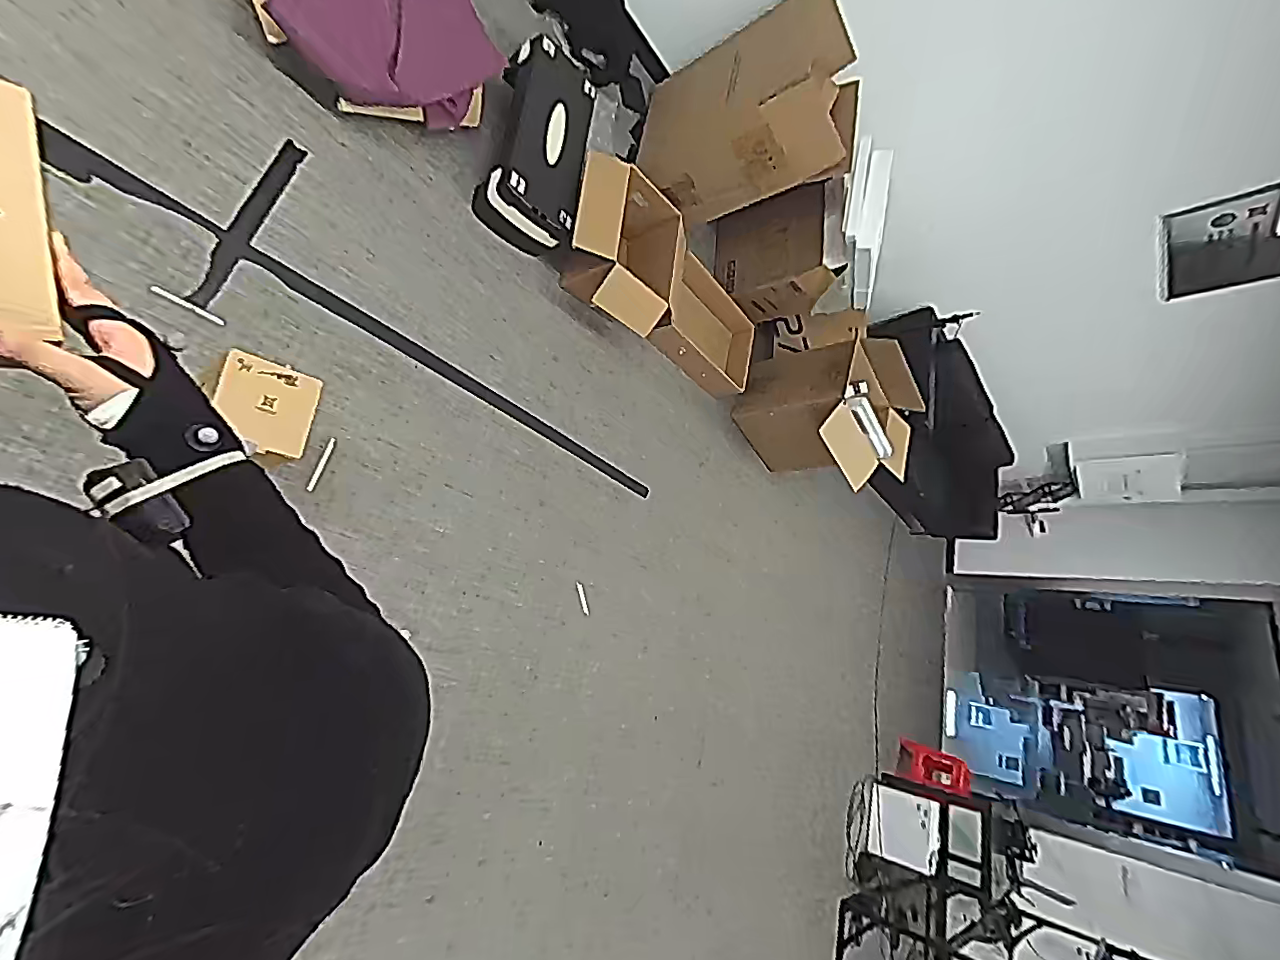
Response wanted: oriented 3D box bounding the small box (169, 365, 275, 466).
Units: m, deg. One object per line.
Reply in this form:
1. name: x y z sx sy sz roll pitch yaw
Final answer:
1. small box: -0.907 -0.135 1.210 0.179 0.176 0.168 25 68 -45

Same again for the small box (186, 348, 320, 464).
1. small box: -0.788 -0.138 1.097 0.168 0.176 0.179 23 70 -45

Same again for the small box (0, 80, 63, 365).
1. small box: -0.511 -0.169 0.346 0.179 0.176 0.168 -8 98 -51
